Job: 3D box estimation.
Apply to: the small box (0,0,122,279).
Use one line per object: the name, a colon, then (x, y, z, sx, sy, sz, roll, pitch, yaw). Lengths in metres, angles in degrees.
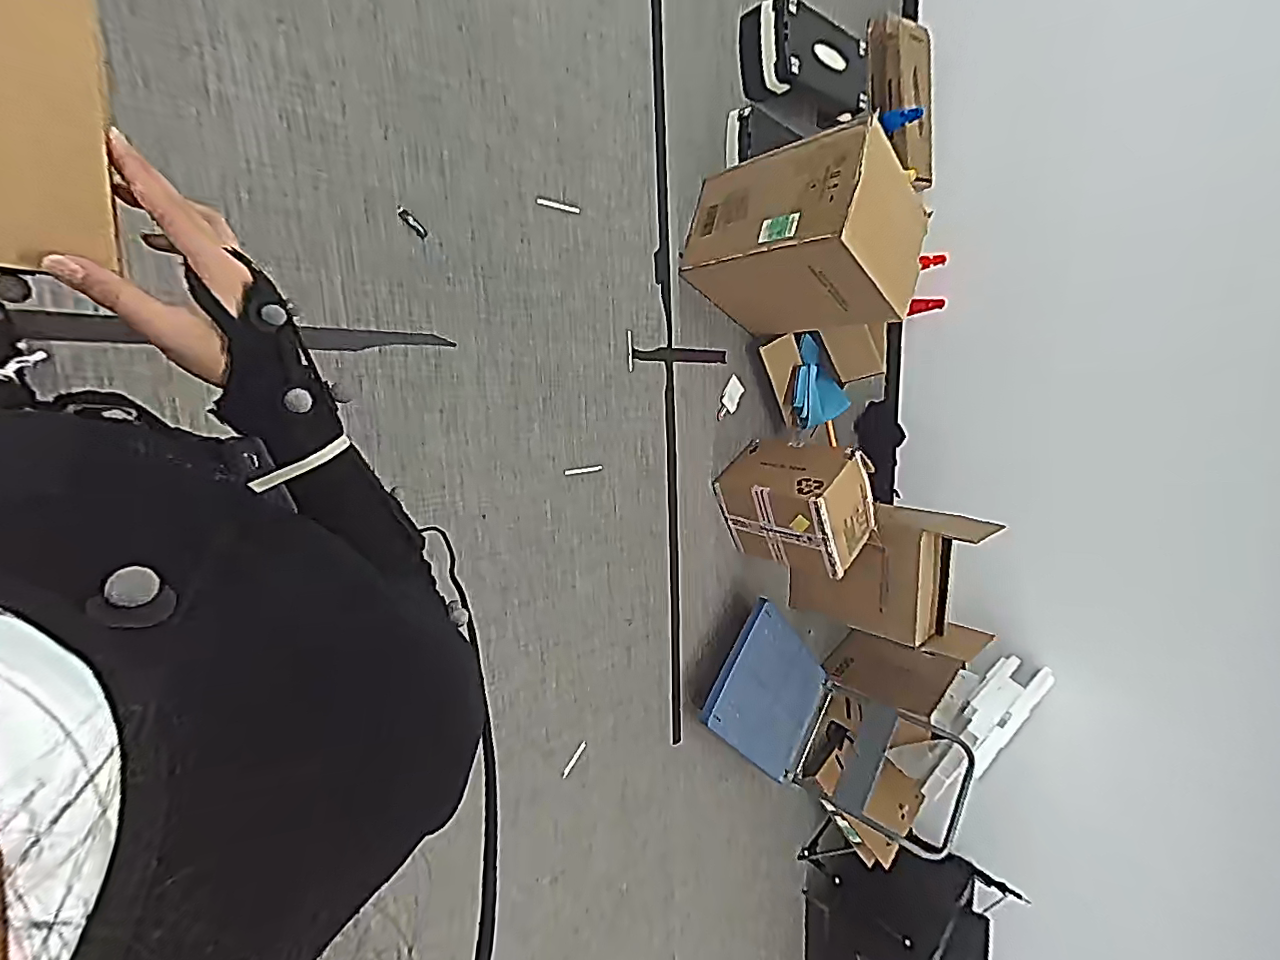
small box: (-0.390, -0.204, 0.274, 0.179, 0.176, 0.168, -4, 107, -42)
